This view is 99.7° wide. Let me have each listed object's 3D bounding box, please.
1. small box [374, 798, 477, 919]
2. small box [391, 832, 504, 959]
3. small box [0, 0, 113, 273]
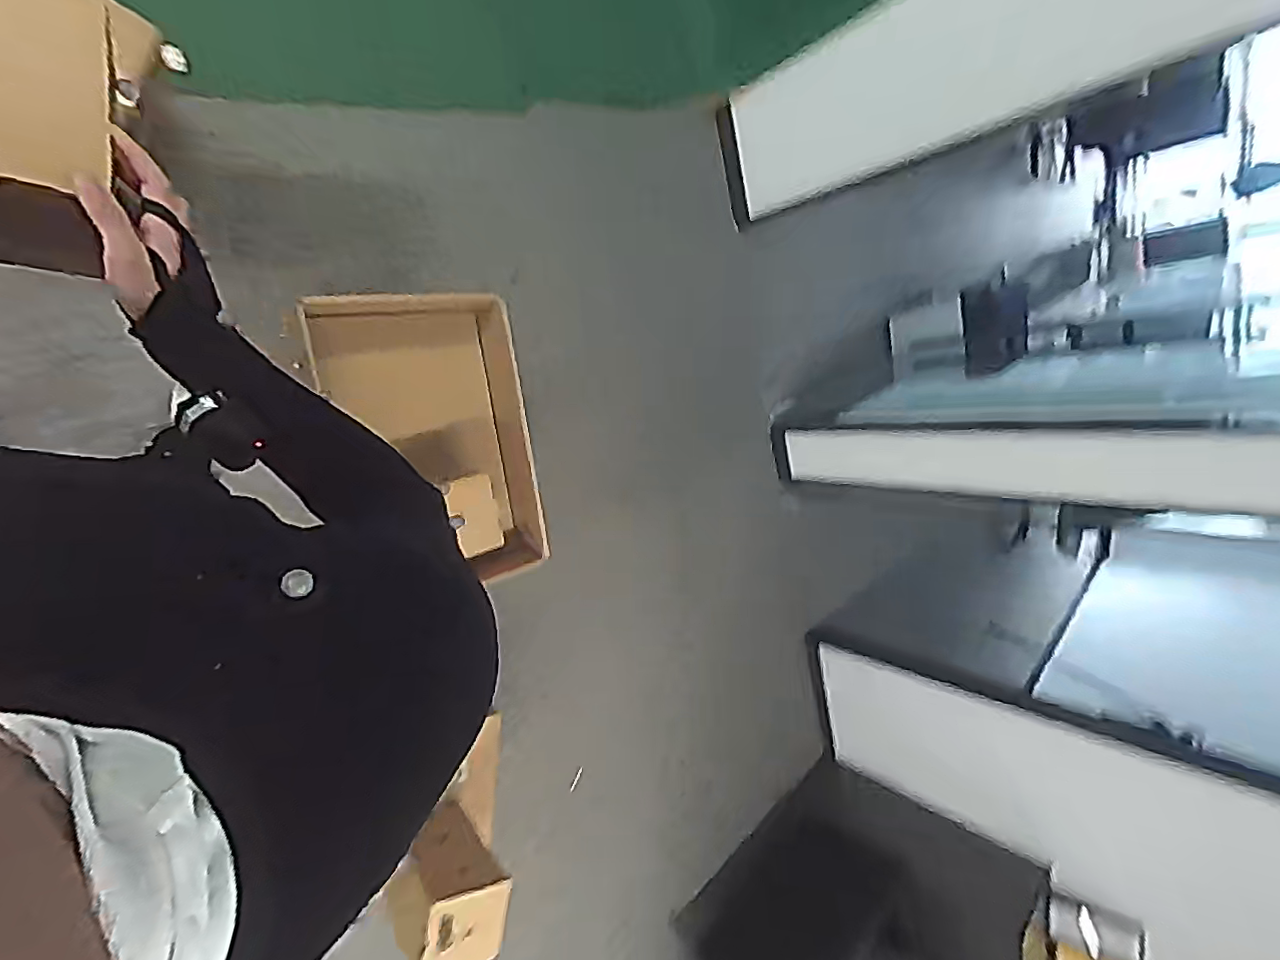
[{"bbox_3d":[-0.530,0.915,1.330,0.179,0.176,0.168,13,86,-38],"label":"small box"},{"bbox_3d":[-0.432,0.923,1.200,0.179,0.176,0.168,14,85,-40],"label":"small box"},{"bbox_3d":[-0.544,-0.295,0.433,0.168,0.176,0.179,-3,88,-42],"label":"small box"}]
